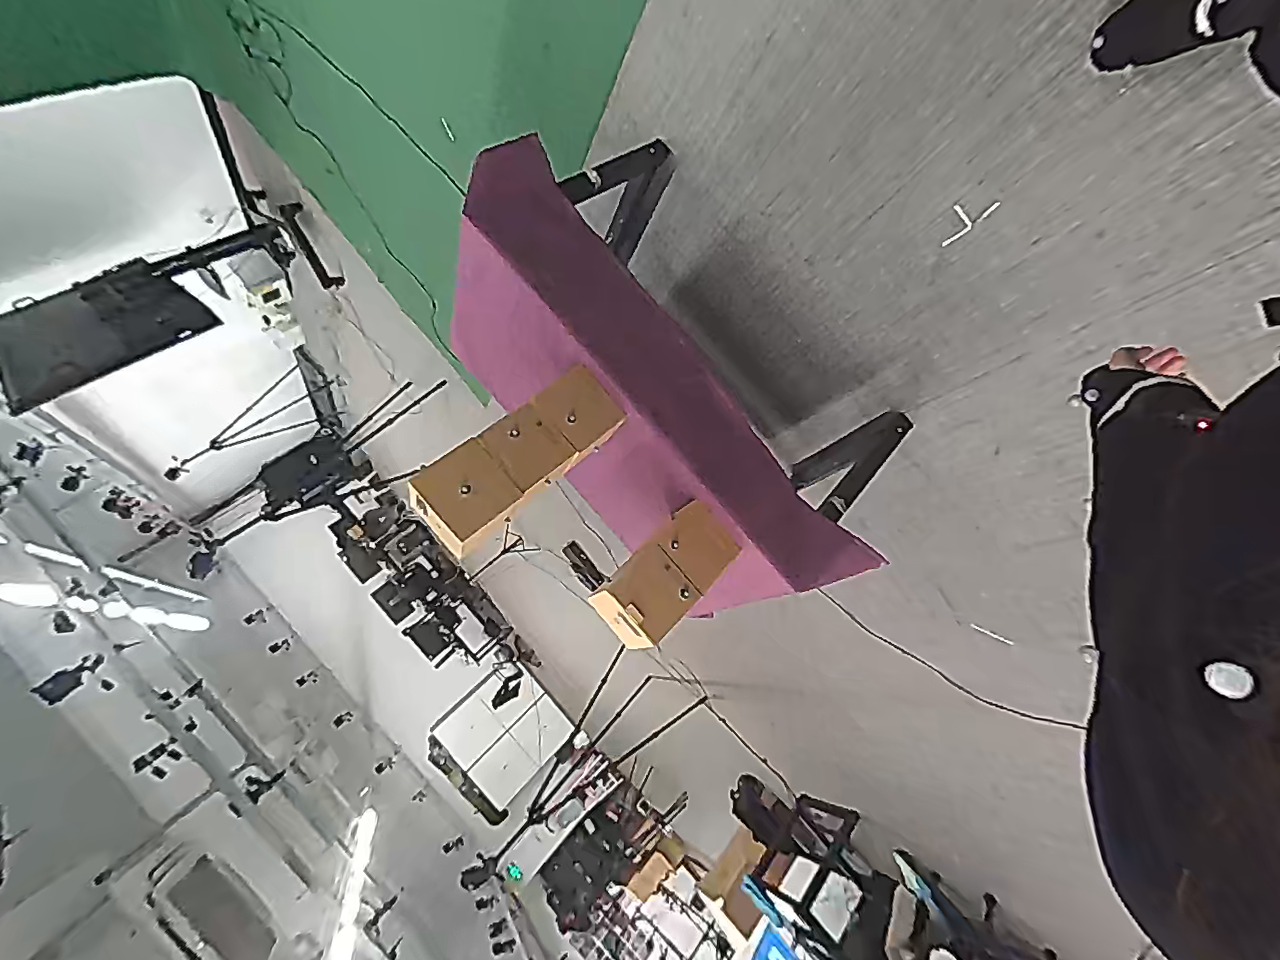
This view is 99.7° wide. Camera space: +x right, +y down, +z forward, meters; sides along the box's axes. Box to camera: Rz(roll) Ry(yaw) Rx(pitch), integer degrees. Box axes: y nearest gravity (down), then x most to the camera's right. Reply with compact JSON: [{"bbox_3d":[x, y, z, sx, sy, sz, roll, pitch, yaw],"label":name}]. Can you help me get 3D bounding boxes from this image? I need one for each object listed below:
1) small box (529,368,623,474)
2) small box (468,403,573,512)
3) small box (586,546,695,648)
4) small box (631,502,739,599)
[{"bbox_3d":[-0.172,-0.150,1.356,0.179,0.176,0.168,50,151,-2],"label":"small box"},{"bbox_3d":[-0.282,-0.054,1.283,0.168,0.176,0.179,49,152,1],"label":"small box"},{"bbox_3d":[0.004,0.278,1.286,0.168,0.176,0.179,50,153,1],"label":"small box"},{"bbox_3d":[0.115,0.184,1.363,0.179,0.176,0.168,50,151,0],"label":"small box"}]
